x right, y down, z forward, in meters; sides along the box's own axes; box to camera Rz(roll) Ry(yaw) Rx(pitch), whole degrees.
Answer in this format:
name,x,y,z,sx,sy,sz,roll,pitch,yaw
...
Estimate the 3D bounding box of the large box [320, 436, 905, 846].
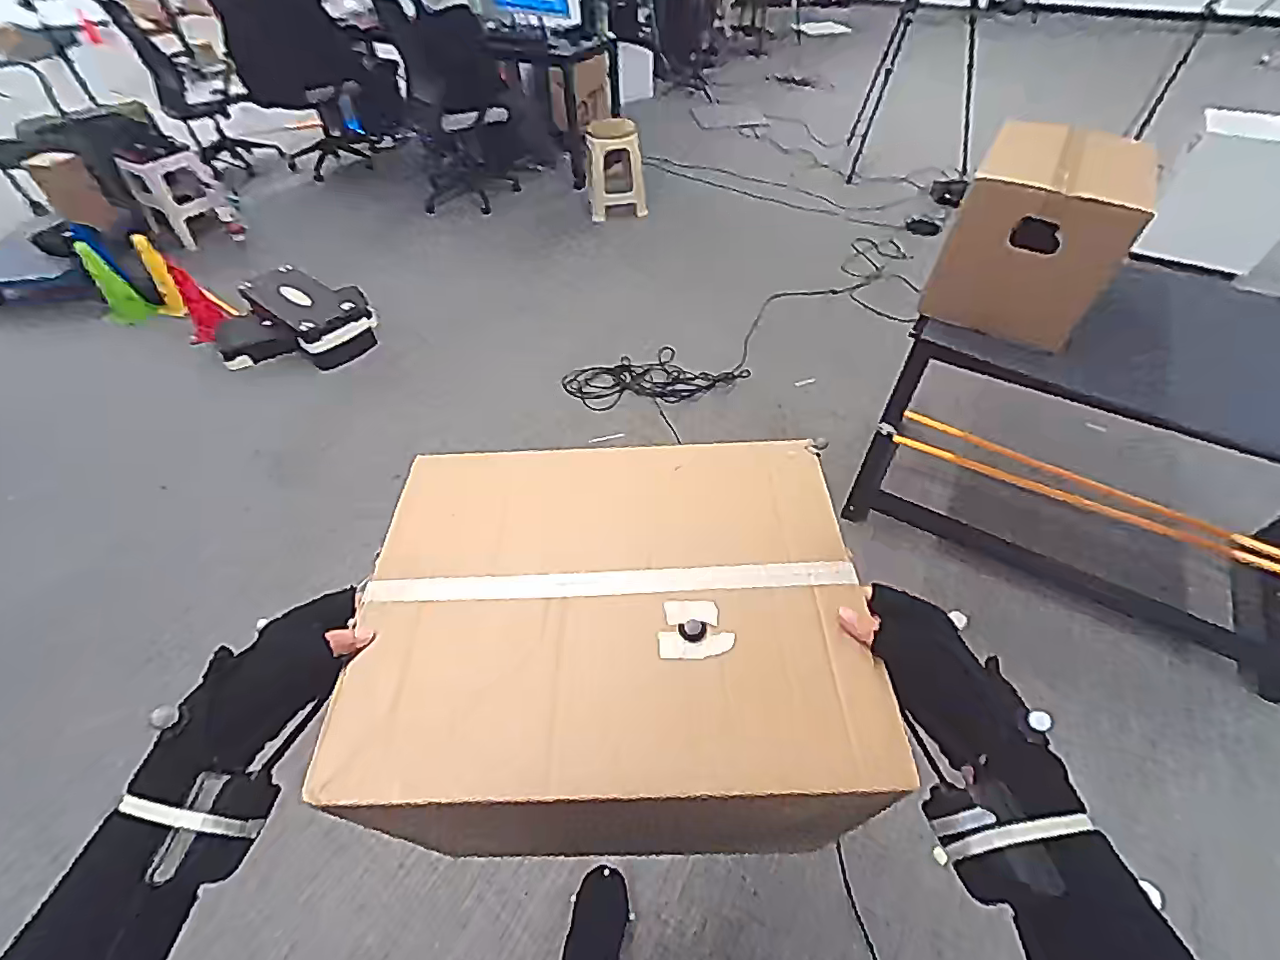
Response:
name,x,y,z,sx,sy,sz,roll,pitch,yaw
large box,-0.020,0.175,0.568,0.408,0.320,0.320,-2,51,1
